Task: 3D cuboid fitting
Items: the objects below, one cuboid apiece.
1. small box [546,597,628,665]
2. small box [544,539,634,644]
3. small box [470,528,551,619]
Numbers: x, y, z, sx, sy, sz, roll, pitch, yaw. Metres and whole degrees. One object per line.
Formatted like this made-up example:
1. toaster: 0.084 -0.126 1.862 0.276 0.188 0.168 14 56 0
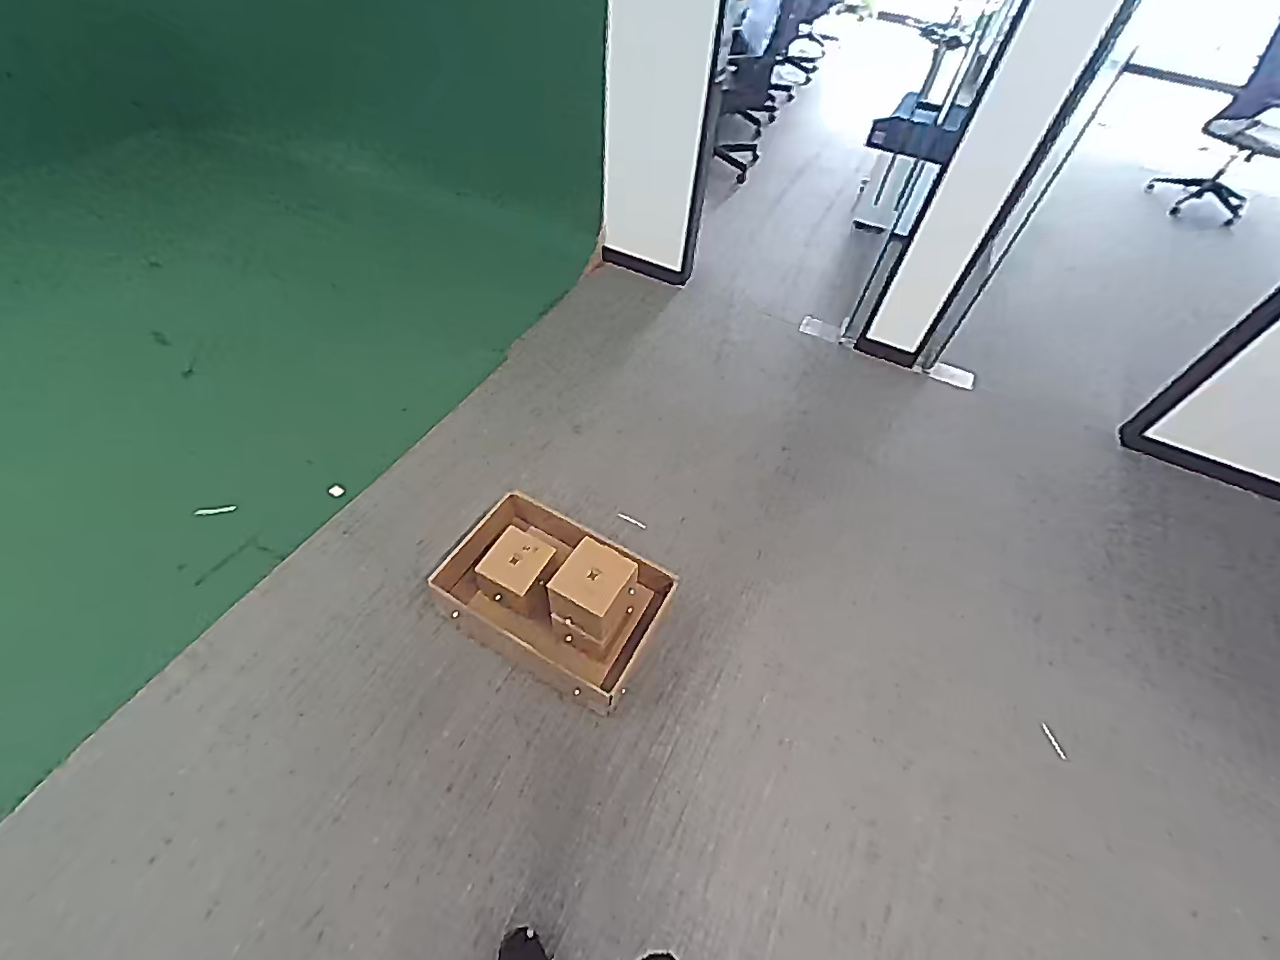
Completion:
1. small box: -0.149 0.398 1.544 0.168 0.176 0.179 26 54 13
2. small box: -0.135 0.294 1.419 0.168 0.176 0.179 27 54 15
3. small box: -0.375 0.283 1.605 0.168 0.176 0.179 26 54 12
